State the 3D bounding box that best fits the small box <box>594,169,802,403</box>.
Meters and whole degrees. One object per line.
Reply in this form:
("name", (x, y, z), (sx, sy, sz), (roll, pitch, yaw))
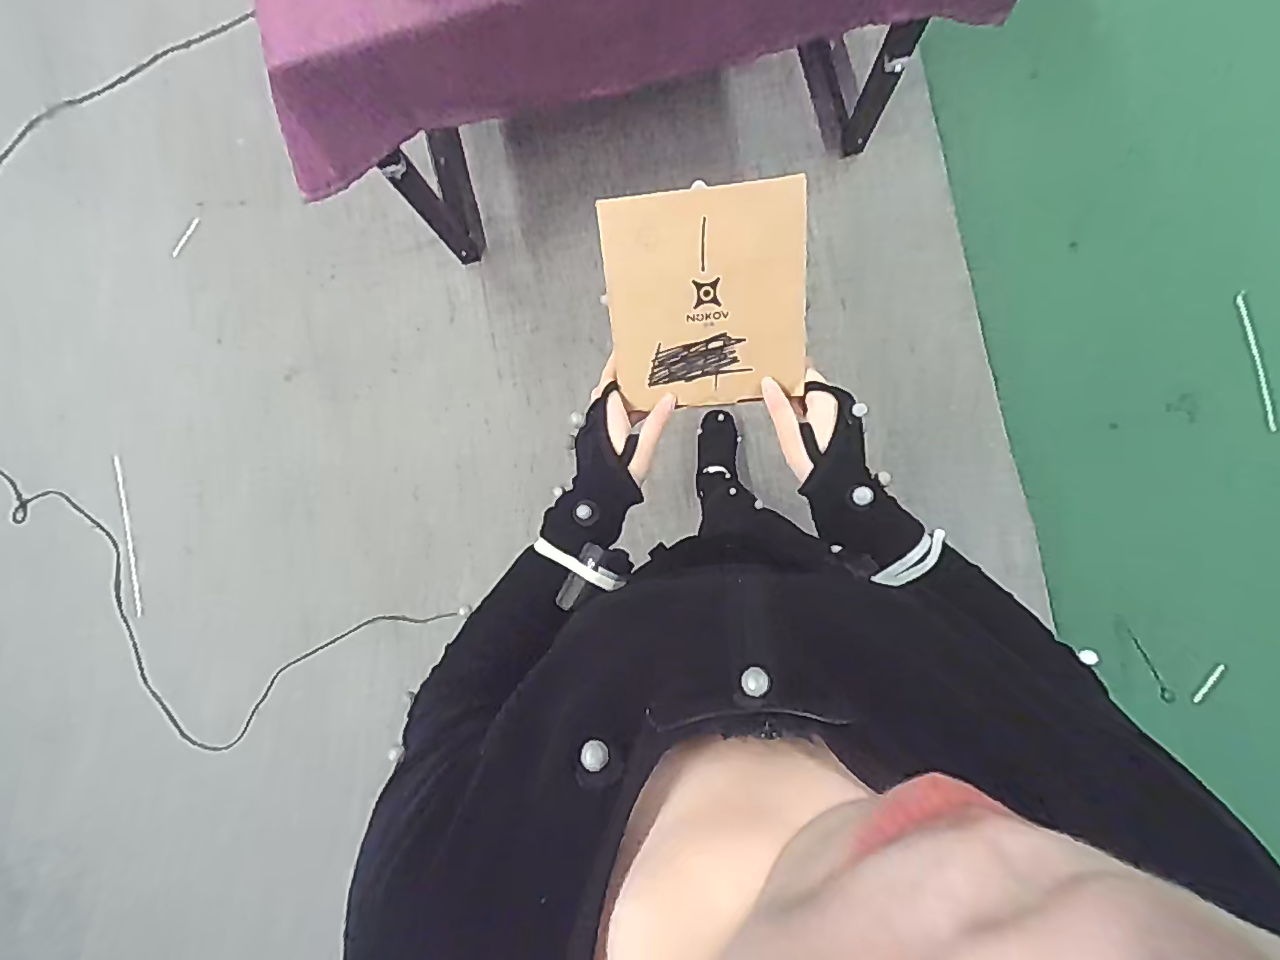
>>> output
("small box", (0.057, -0.186, 0.528), (0.168, 0.176, 0.179), (-5, 112, 5))
